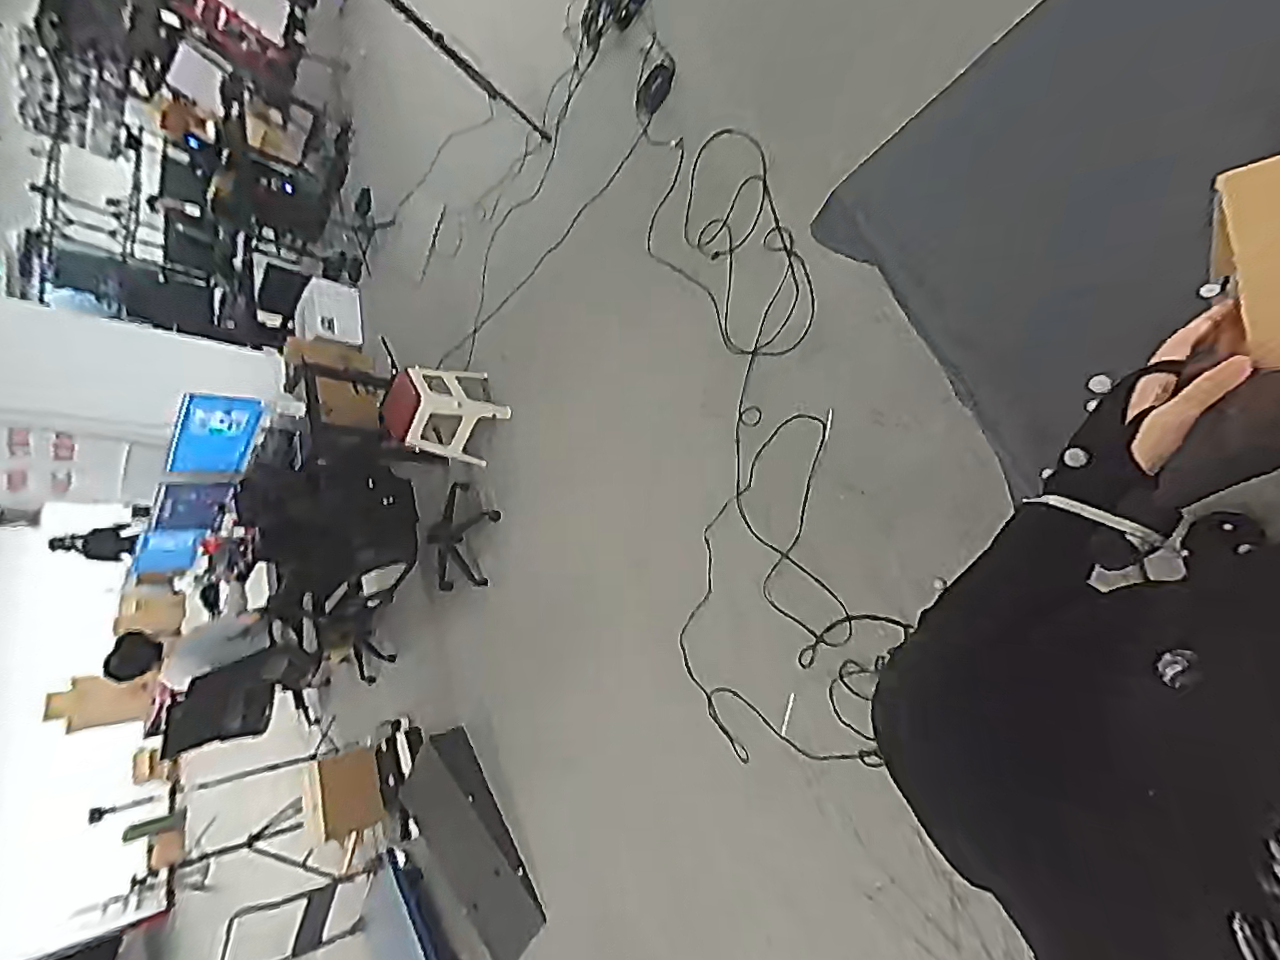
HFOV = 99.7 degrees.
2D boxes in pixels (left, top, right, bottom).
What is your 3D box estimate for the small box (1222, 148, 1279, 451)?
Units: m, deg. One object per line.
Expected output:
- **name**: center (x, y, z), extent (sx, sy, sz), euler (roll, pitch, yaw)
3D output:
- **small box**: center (0.545, -0.137, 0.379), extent (0.168, 0.176, 0.179), euler (-7, 67, 42)
